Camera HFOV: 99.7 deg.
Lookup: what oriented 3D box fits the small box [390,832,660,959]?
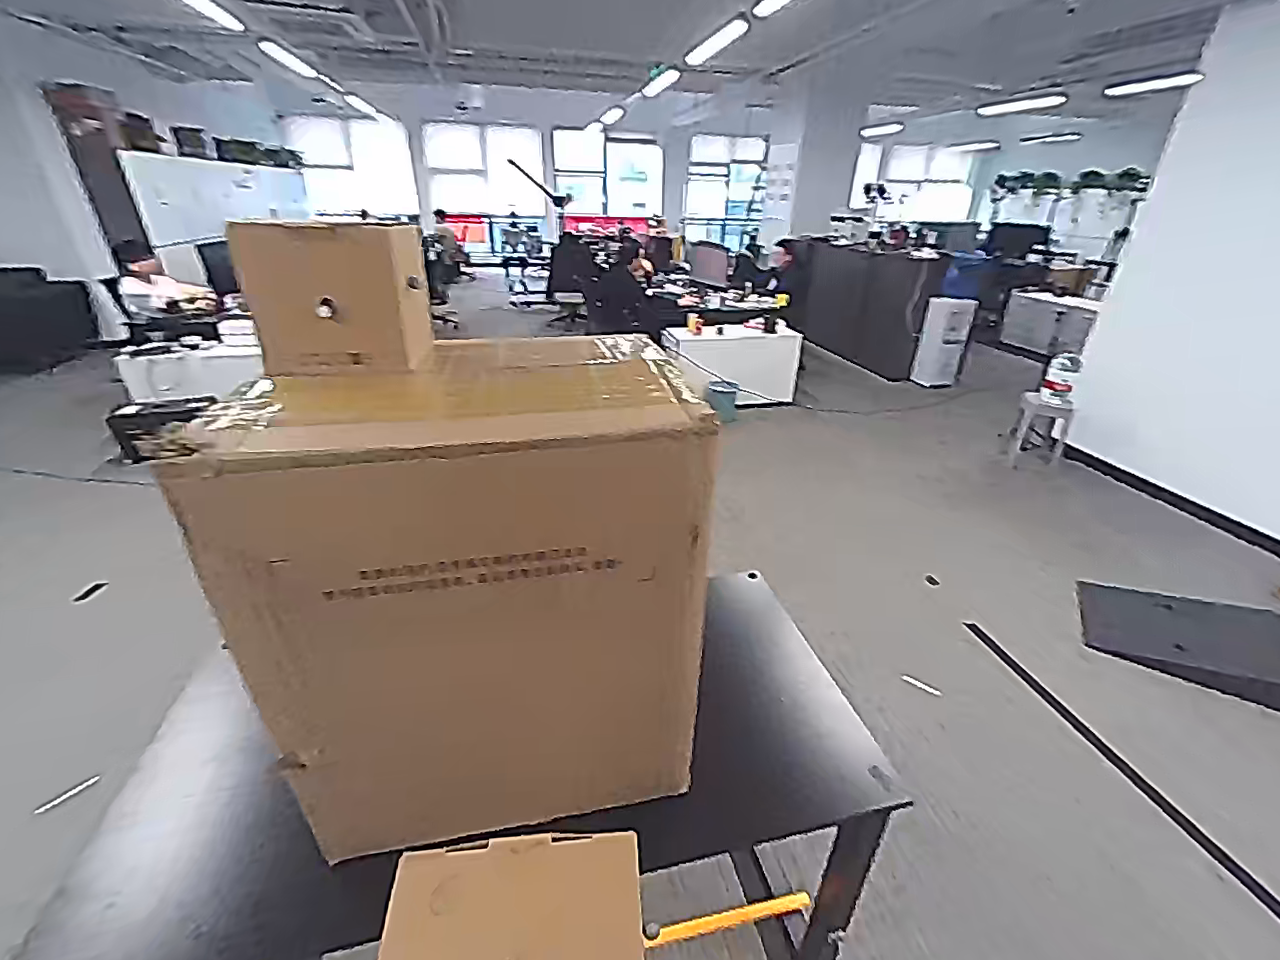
[{"bbox_3d":[-0.071,0.367,0.360,0.168,0.176,0.179,-2,40,-4],"label":"small box"}]

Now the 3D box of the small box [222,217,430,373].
[{"bbox_3d":[-0.371,-0.234,0.681,0.168,0.176,0.179,-4,27,-11],"label":"small box"}]
